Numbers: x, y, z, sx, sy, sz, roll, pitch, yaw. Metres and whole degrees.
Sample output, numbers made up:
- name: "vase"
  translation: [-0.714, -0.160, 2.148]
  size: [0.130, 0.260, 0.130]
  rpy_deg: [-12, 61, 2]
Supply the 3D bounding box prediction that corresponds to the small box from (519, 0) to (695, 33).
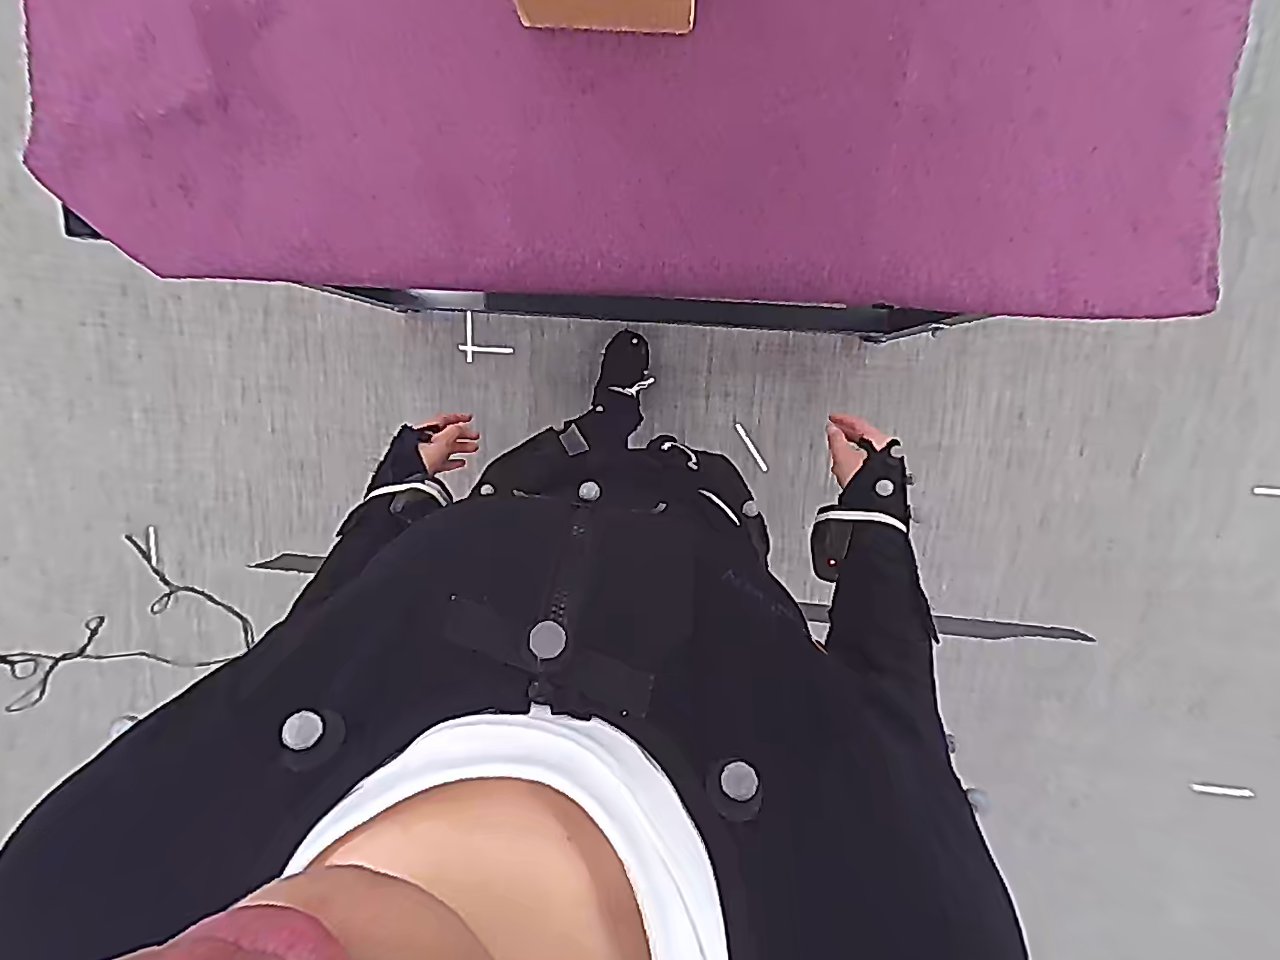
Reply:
- name: "small box"
  translation: [-0.033, -0.524, 0.459]
  size: [0.179, 0.176, 0.168]
  rpy_deg: [4, 99, 2]
